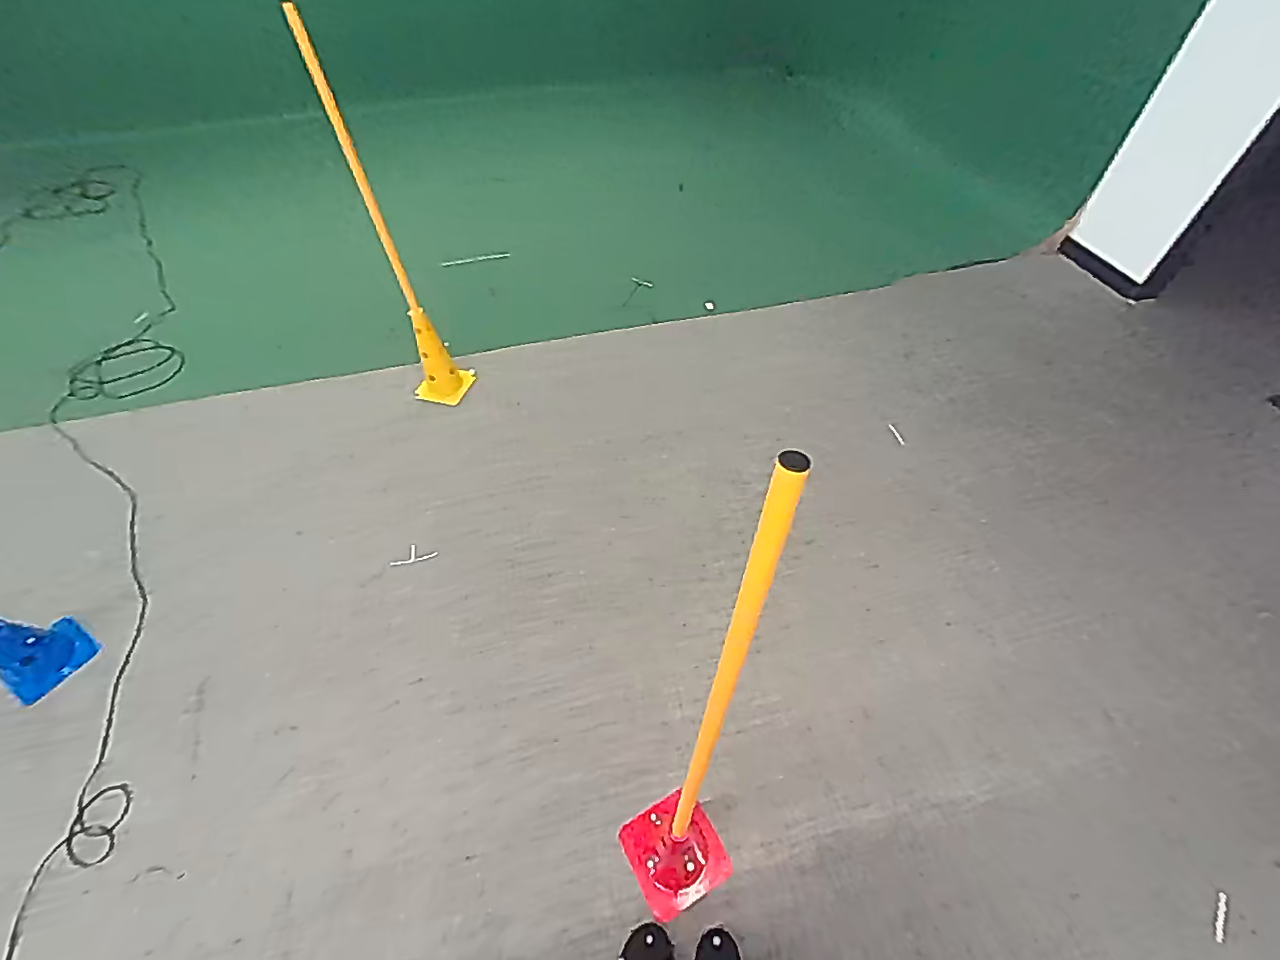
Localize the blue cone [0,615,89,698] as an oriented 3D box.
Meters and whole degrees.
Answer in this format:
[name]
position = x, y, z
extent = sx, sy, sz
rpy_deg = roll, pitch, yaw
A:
[blue cone]
position = -1.688, 0.400, 1.392
extent = 0.192, 0.380, 0.193
rpy_deg = 26, 59, 19
